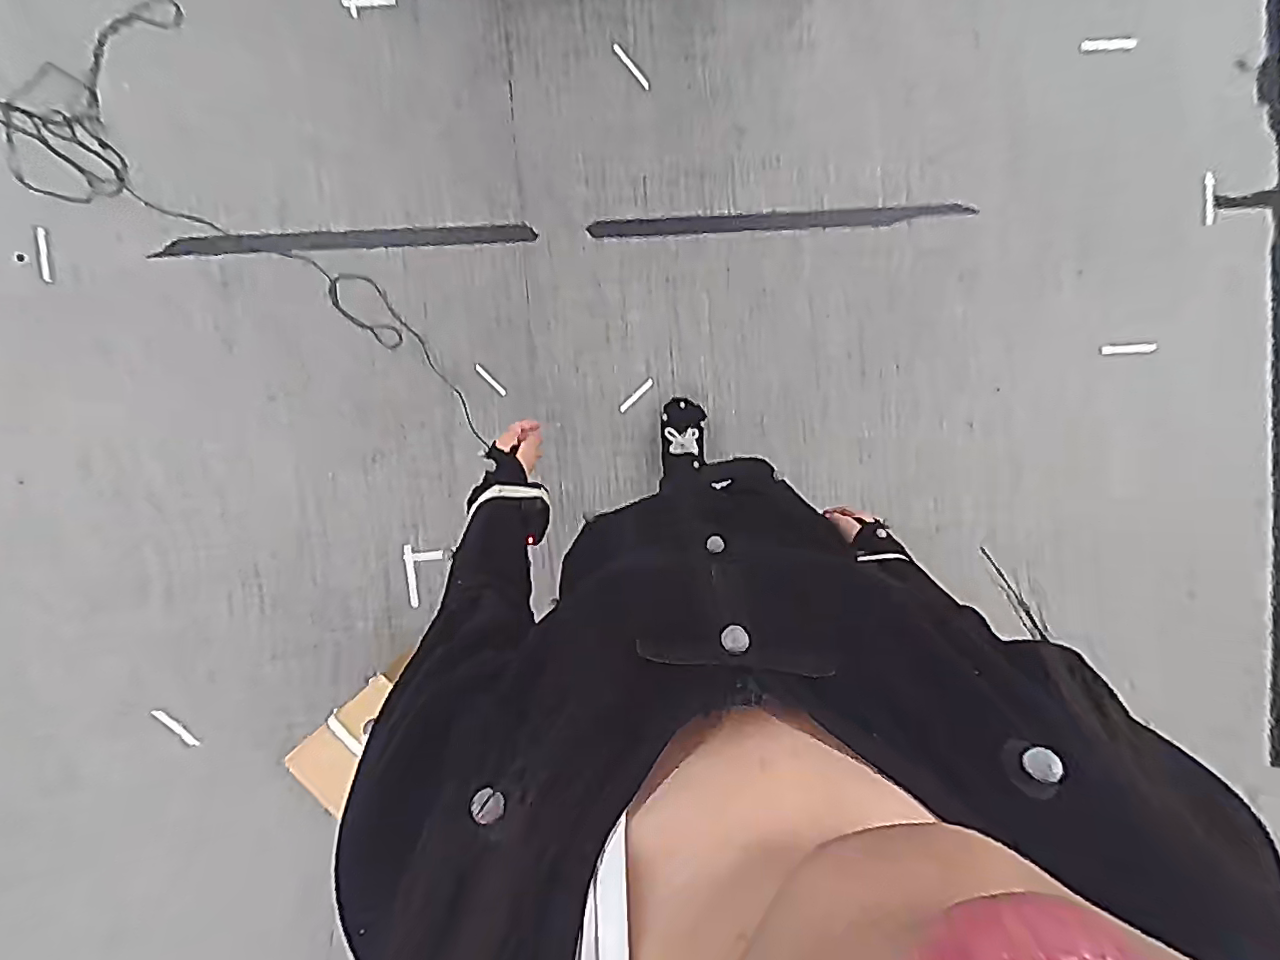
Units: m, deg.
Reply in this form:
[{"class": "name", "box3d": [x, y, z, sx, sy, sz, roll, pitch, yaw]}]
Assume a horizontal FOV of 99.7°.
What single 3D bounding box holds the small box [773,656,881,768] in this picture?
[{"class": "small box", "box3d": [0.479, 0.595, 1.413, 0.179, 0.176, 0.168, 42, 92, -2]}]
